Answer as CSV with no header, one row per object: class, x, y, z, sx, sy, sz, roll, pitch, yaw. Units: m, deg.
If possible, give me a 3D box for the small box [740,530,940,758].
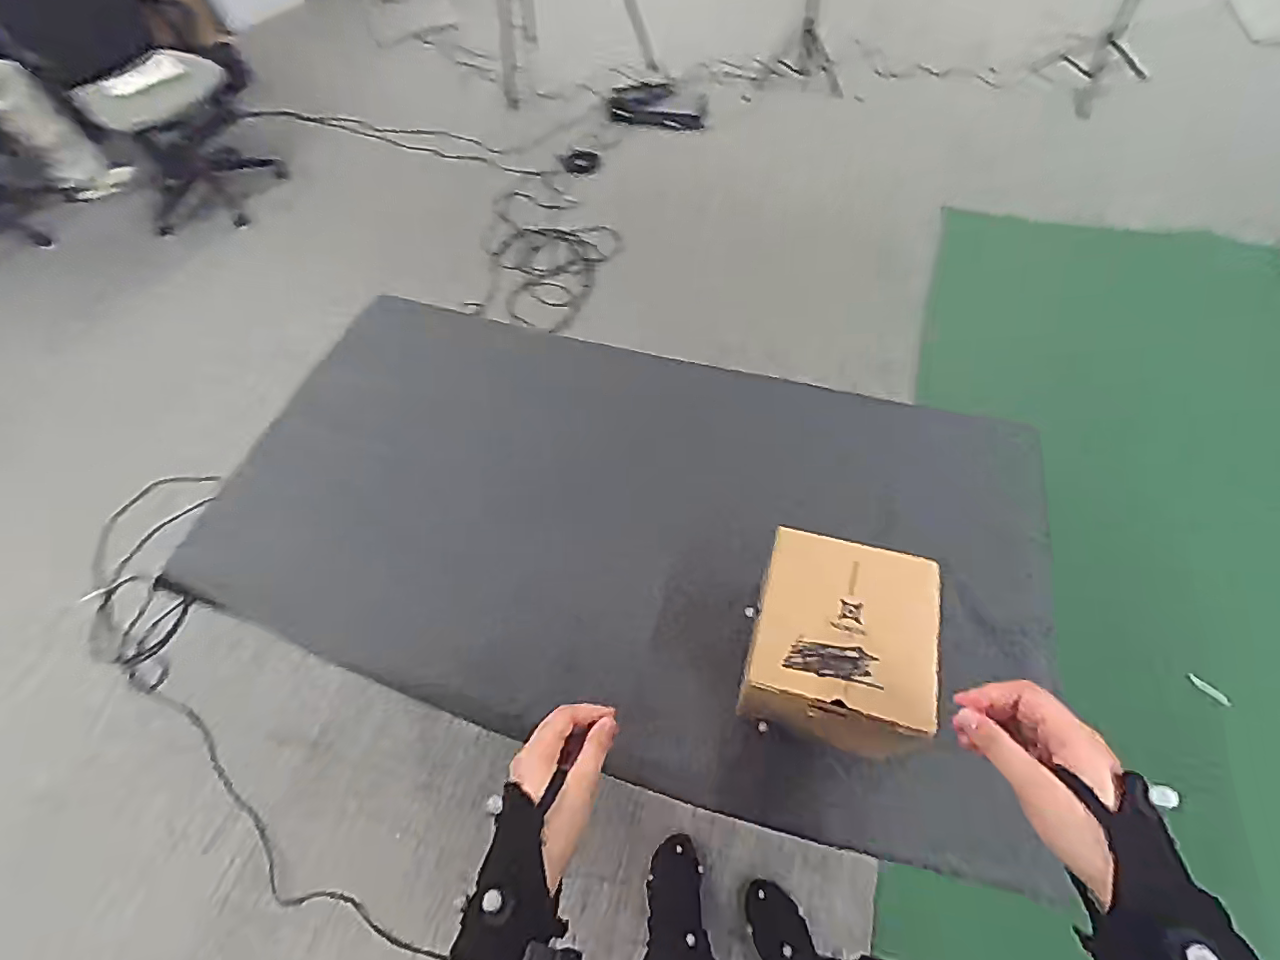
small box,0.210,0.185,0.597,0.168,0.176,0.179,13,58,14
